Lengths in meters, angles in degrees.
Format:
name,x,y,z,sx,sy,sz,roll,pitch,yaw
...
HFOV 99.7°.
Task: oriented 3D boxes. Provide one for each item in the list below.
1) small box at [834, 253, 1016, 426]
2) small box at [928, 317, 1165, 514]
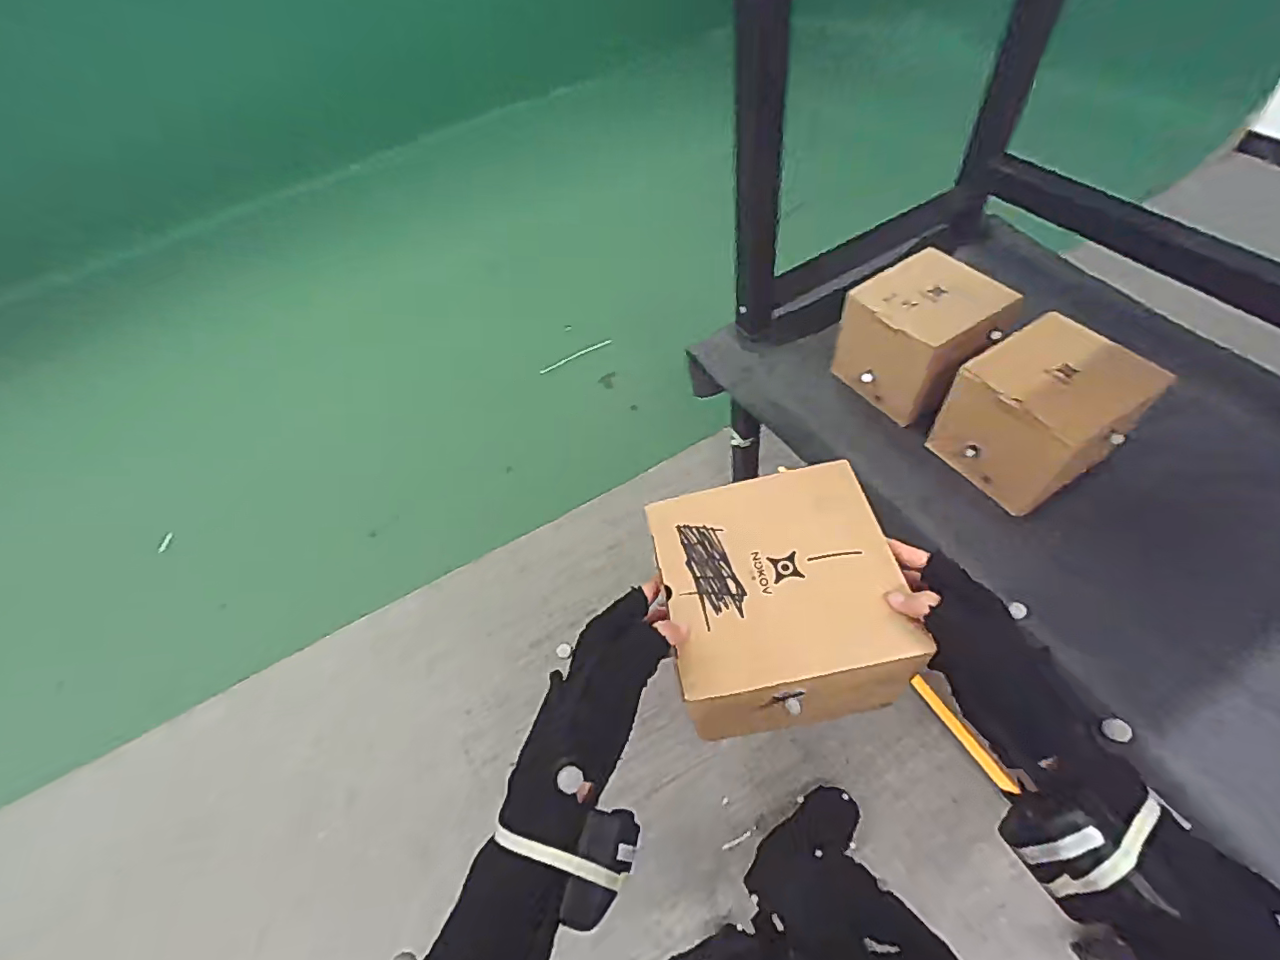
name,x,y,z,sx,sy,sz,roll,pitch,yaw
small box,0.438,-0.222,0.866,0.179,0.176,0.168,-30,56,-11
small box,0.544,-0.087,0.756,0.179,0.176,0.168,-30,56,-11
